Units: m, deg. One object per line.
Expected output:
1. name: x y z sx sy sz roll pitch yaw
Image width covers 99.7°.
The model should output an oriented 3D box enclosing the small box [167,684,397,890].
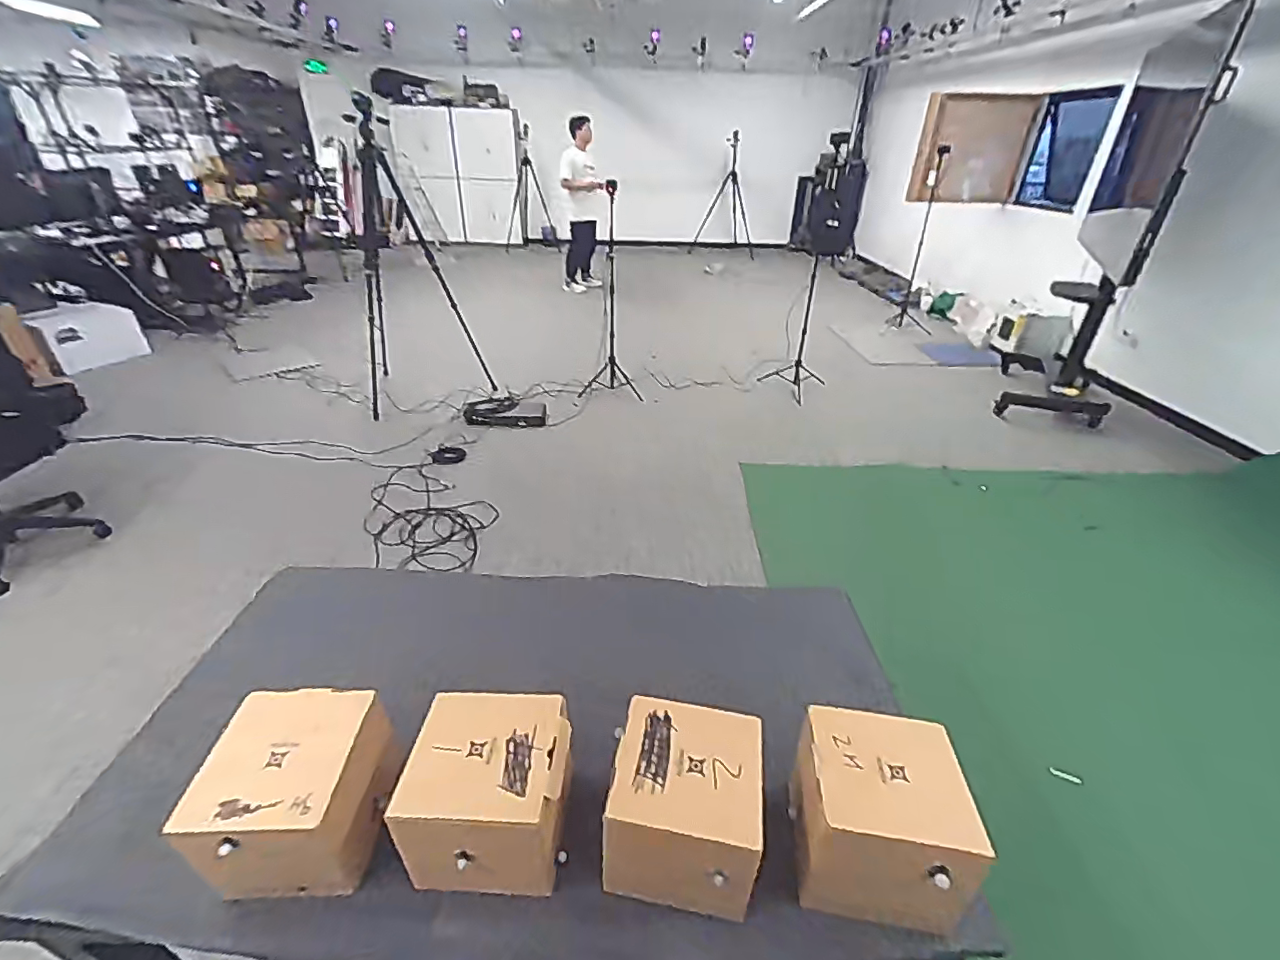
1. small box: -0.433 0.388 0.695 0.168 0.176 0.179 0 32 -1
